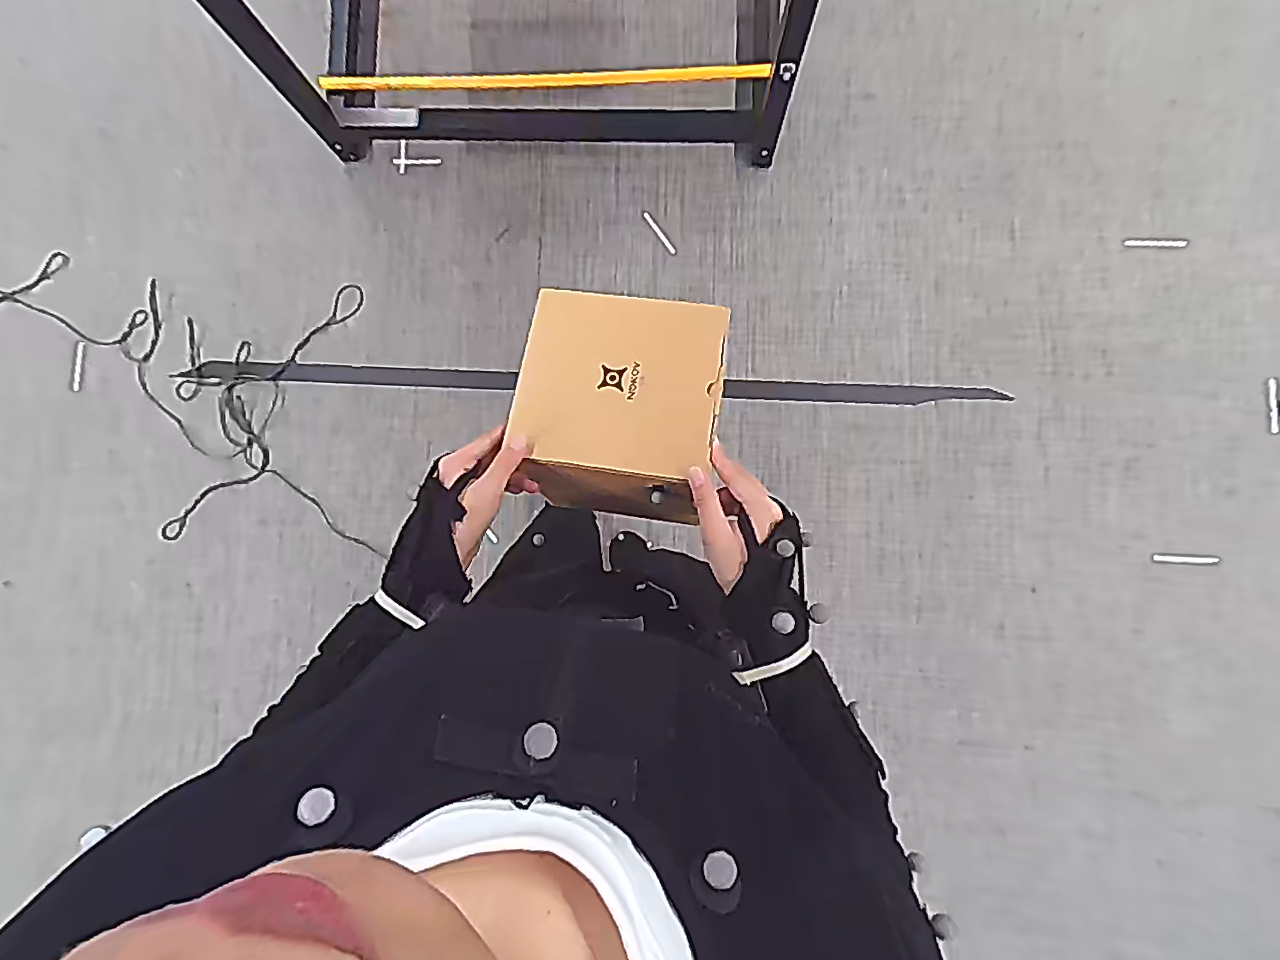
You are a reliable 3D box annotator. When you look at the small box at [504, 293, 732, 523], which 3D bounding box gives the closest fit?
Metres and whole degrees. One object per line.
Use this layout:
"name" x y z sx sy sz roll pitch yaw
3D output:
"small box" -0.011 -0.061 0.542 0.179 0.176 0.168 8 74 7
